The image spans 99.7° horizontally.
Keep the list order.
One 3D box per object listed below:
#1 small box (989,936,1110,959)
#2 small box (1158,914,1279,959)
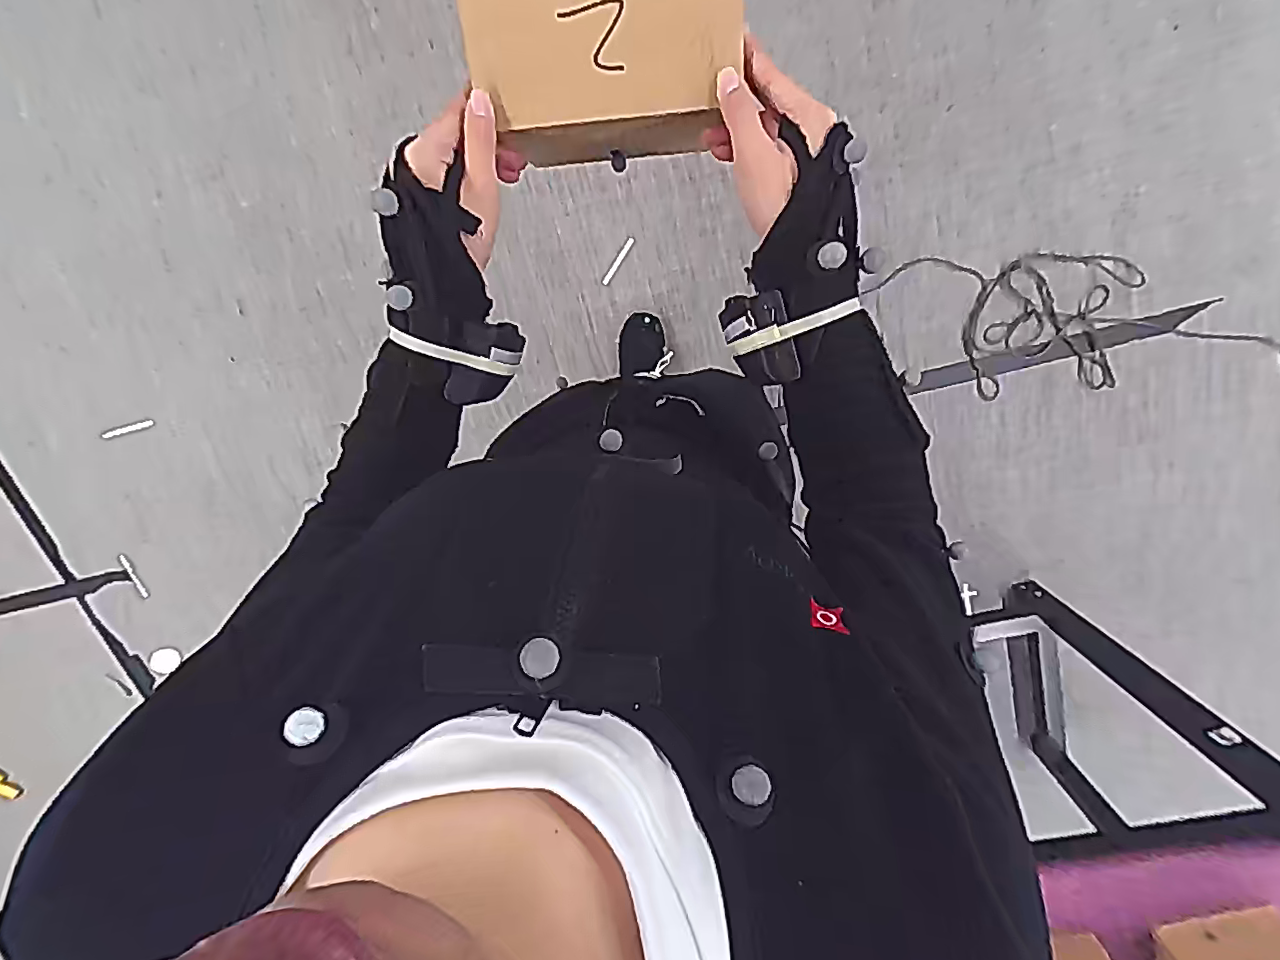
[{"bbox_3d":[0.619,0.801,0.767,0.179,0.176,0.168,-18,107,9],"label":"small box"},{"bbox_3d":[0.866,0.736,0.738,0.168,0.176,0.179,-21,106,9],"label":"small box"}]
